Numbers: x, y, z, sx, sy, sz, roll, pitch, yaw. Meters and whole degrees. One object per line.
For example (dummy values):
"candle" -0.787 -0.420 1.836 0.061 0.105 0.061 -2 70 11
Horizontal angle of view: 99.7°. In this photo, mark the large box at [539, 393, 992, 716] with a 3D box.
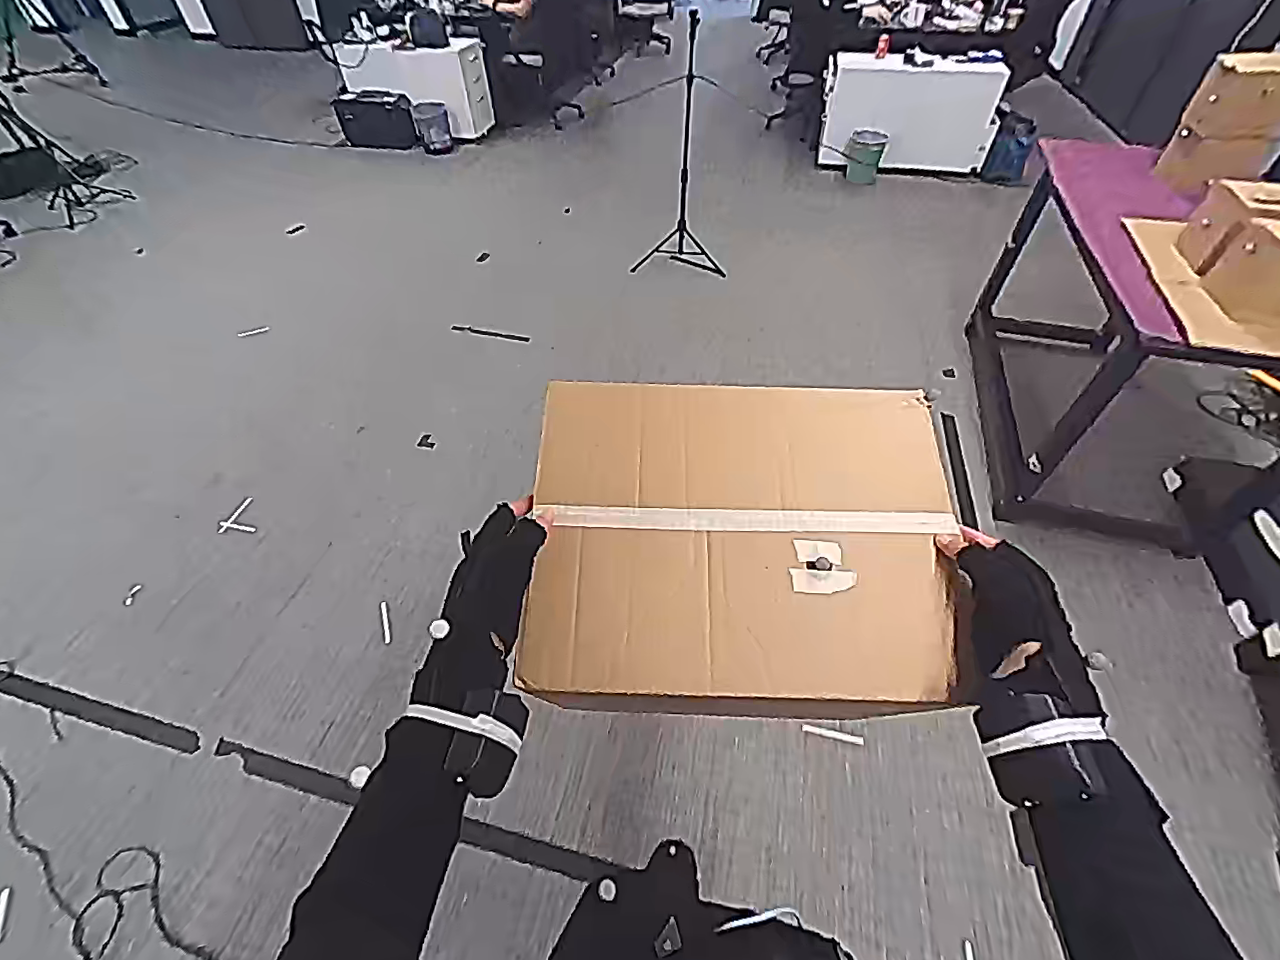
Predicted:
"large box" 0.109 0.112 0.665 0.408 0.320 0.320 2 65 0
